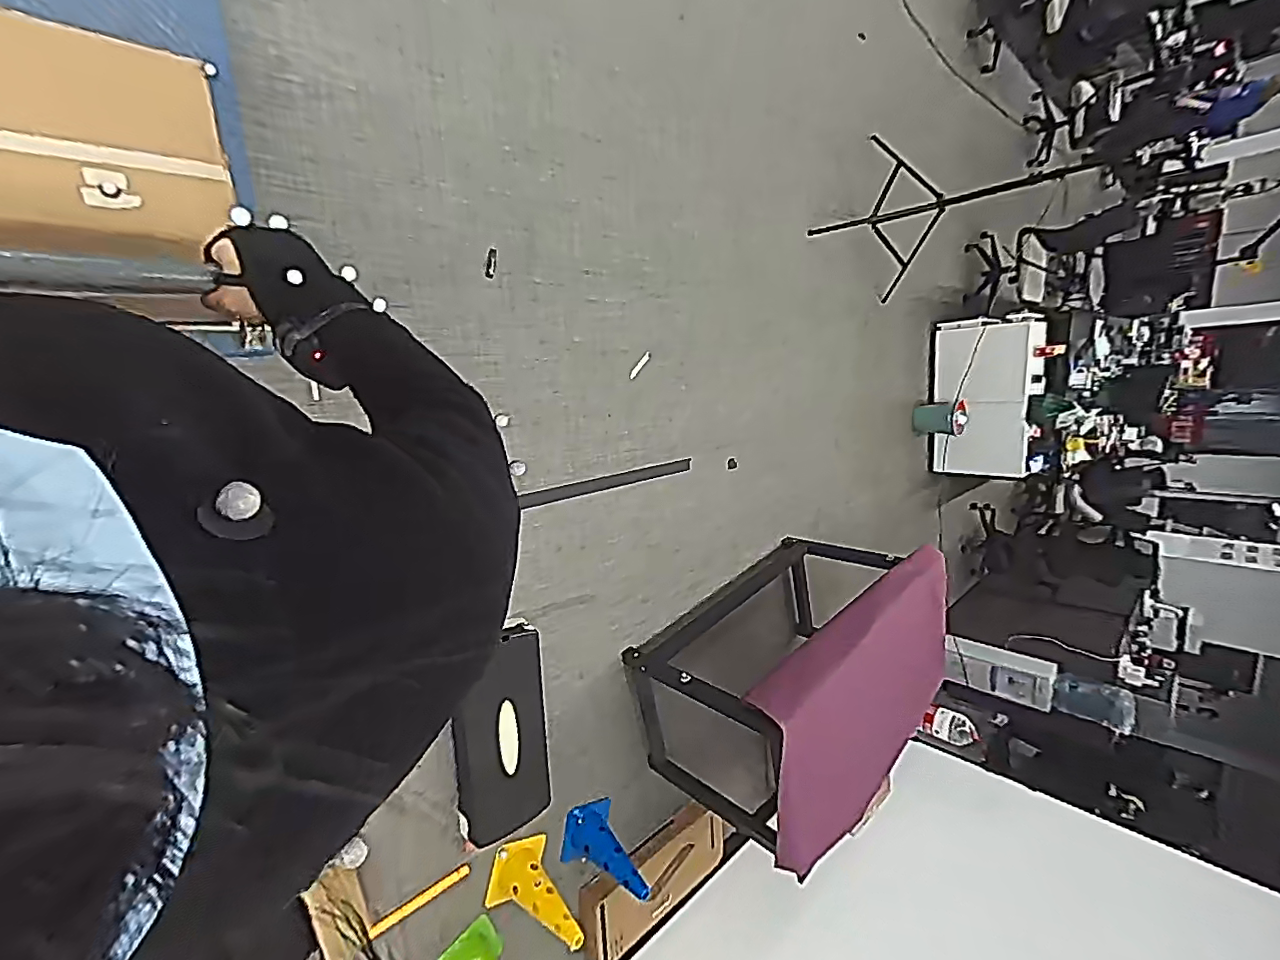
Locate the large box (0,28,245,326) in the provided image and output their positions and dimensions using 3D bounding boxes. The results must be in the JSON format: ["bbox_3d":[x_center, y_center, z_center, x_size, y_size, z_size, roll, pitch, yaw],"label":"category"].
[{"bbox_3d":[-0.865,-0.403,0.782,0.408,0.320,0.320,-13,102,-42],"label":"large box"}]
